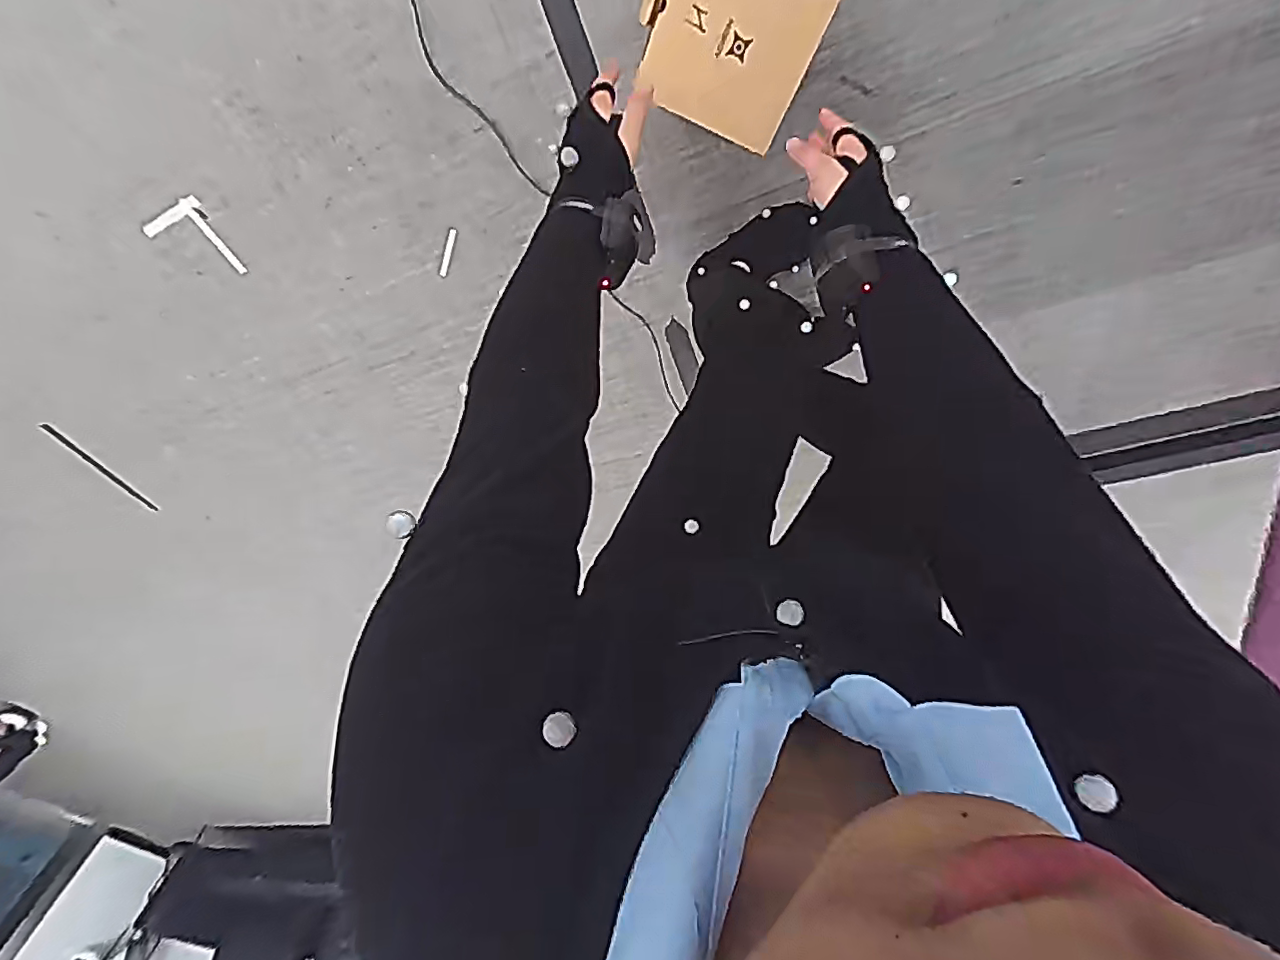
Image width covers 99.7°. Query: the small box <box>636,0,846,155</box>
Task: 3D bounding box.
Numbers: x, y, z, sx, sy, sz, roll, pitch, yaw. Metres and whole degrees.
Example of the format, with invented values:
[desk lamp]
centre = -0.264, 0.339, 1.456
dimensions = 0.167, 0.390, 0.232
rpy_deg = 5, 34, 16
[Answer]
[small box]
centre = 0.112, -0.525, 0.641
dimensions = 0.179, 0.176, 0.168
rpy_deg = 20, 131, -10
